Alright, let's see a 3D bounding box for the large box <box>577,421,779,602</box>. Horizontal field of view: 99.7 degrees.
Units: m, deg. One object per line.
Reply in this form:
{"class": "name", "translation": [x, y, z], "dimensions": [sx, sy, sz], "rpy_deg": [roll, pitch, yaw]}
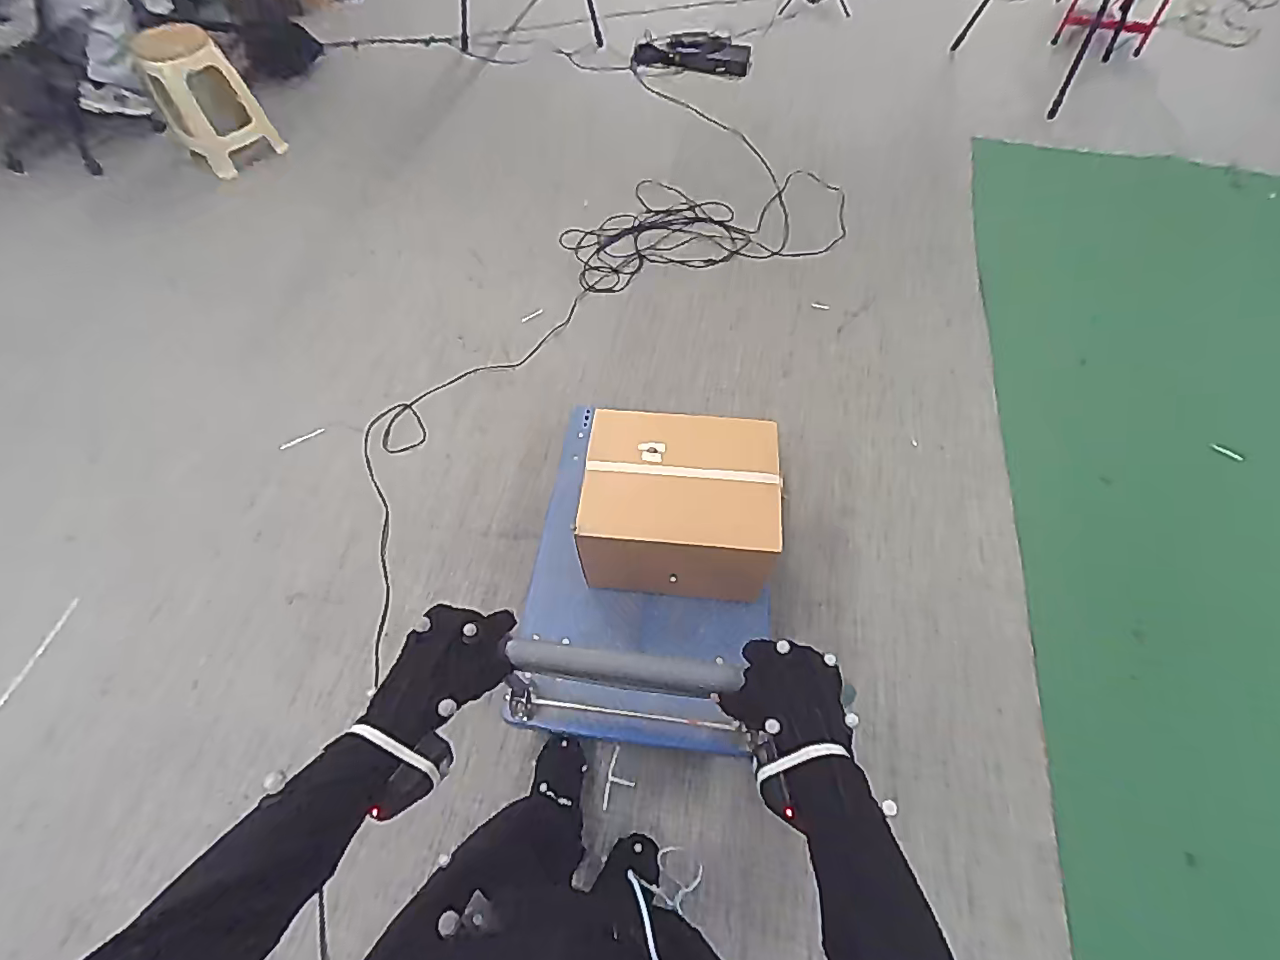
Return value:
{"class": "large box", "translation": [0.090, 0.082, 1.259], "dimensions": [0.408, 0.320, 0.320], "rpy_deg": [4, 58, 5]}
